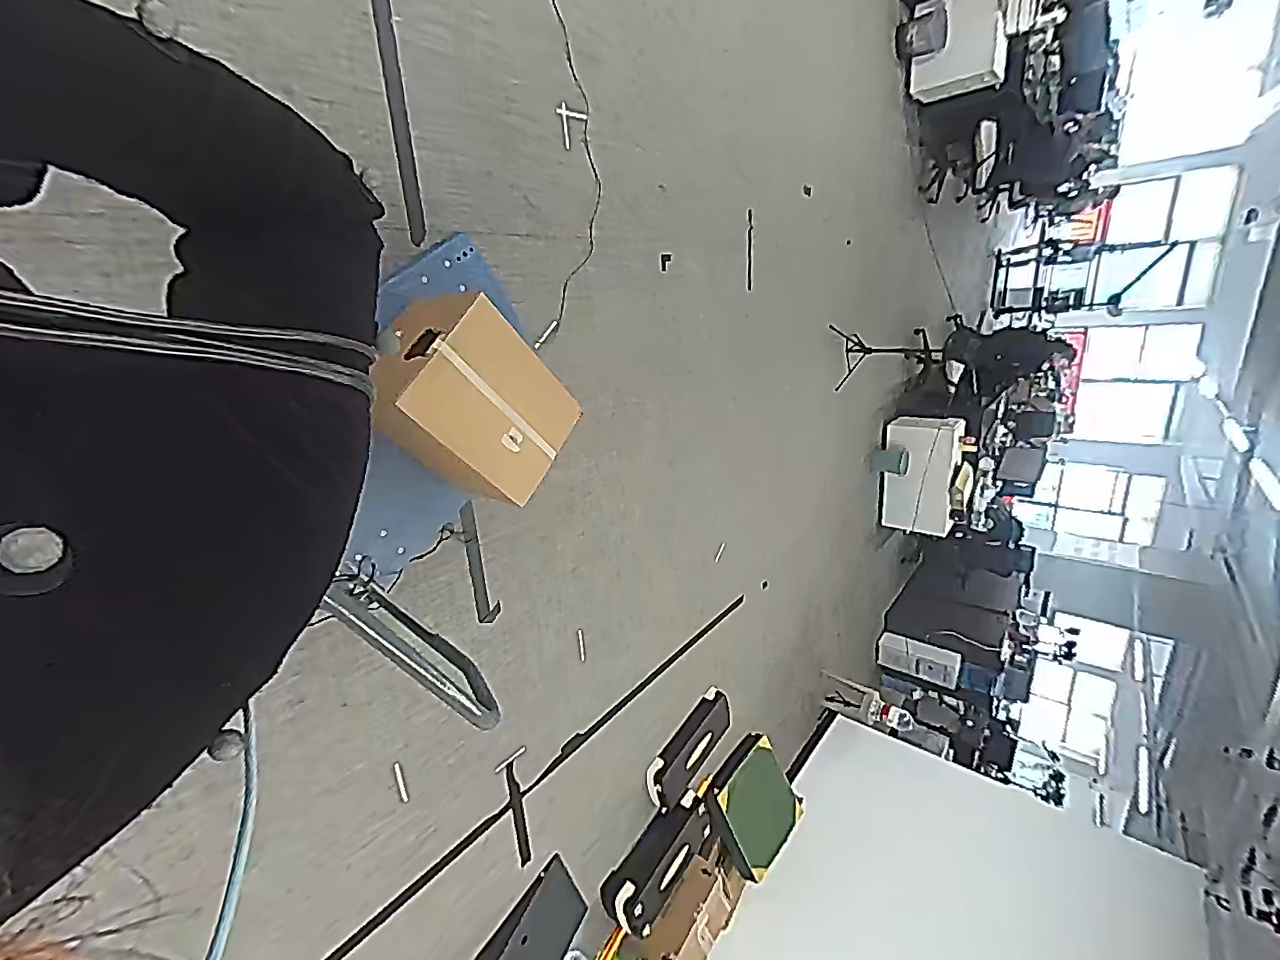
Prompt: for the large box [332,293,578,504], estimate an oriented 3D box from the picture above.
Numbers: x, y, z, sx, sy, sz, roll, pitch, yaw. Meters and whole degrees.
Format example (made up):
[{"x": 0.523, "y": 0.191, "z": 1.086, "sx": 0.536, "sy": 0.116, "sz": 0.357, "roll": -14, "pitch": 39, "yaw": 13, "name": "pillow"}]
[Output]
[{"x": -0.436, "y": -0.193, "z": 1.324, "sx": 0.408, "sy": 0.320, "sz": 0.320, "roll": 50, "pitch": 62, "yaw": -45, "name": "large box"}]
